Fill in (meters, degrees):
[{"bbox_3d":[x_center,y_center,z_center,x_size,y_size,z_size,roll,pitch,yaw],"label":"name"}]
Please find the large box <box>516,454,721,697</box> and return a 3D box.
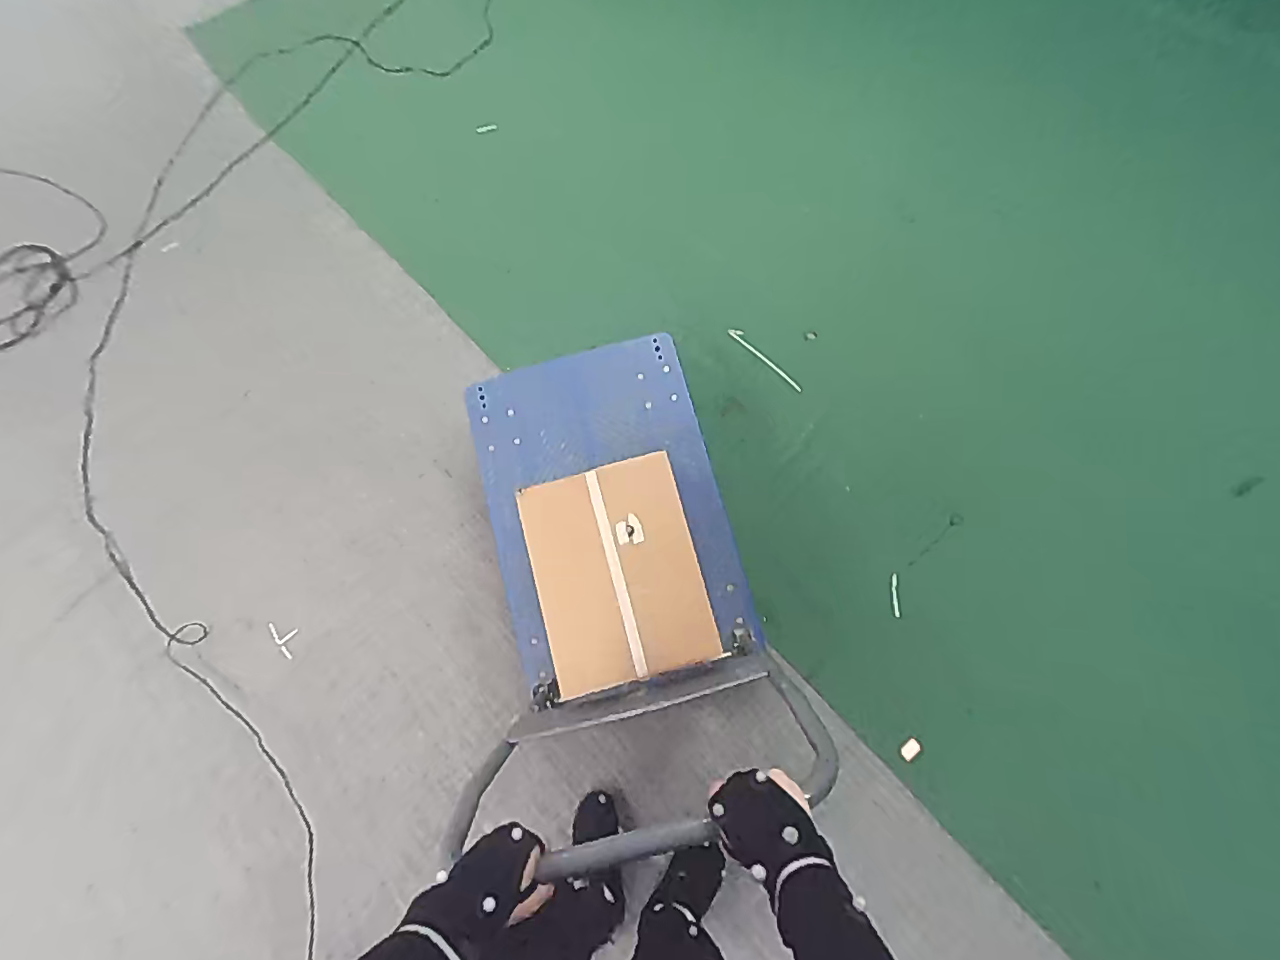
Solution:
[{"bbox_3d":[-0.038,0.205,1.182,0.320,0.320,0.408,-16,78,-1],"label":"large box"}]
